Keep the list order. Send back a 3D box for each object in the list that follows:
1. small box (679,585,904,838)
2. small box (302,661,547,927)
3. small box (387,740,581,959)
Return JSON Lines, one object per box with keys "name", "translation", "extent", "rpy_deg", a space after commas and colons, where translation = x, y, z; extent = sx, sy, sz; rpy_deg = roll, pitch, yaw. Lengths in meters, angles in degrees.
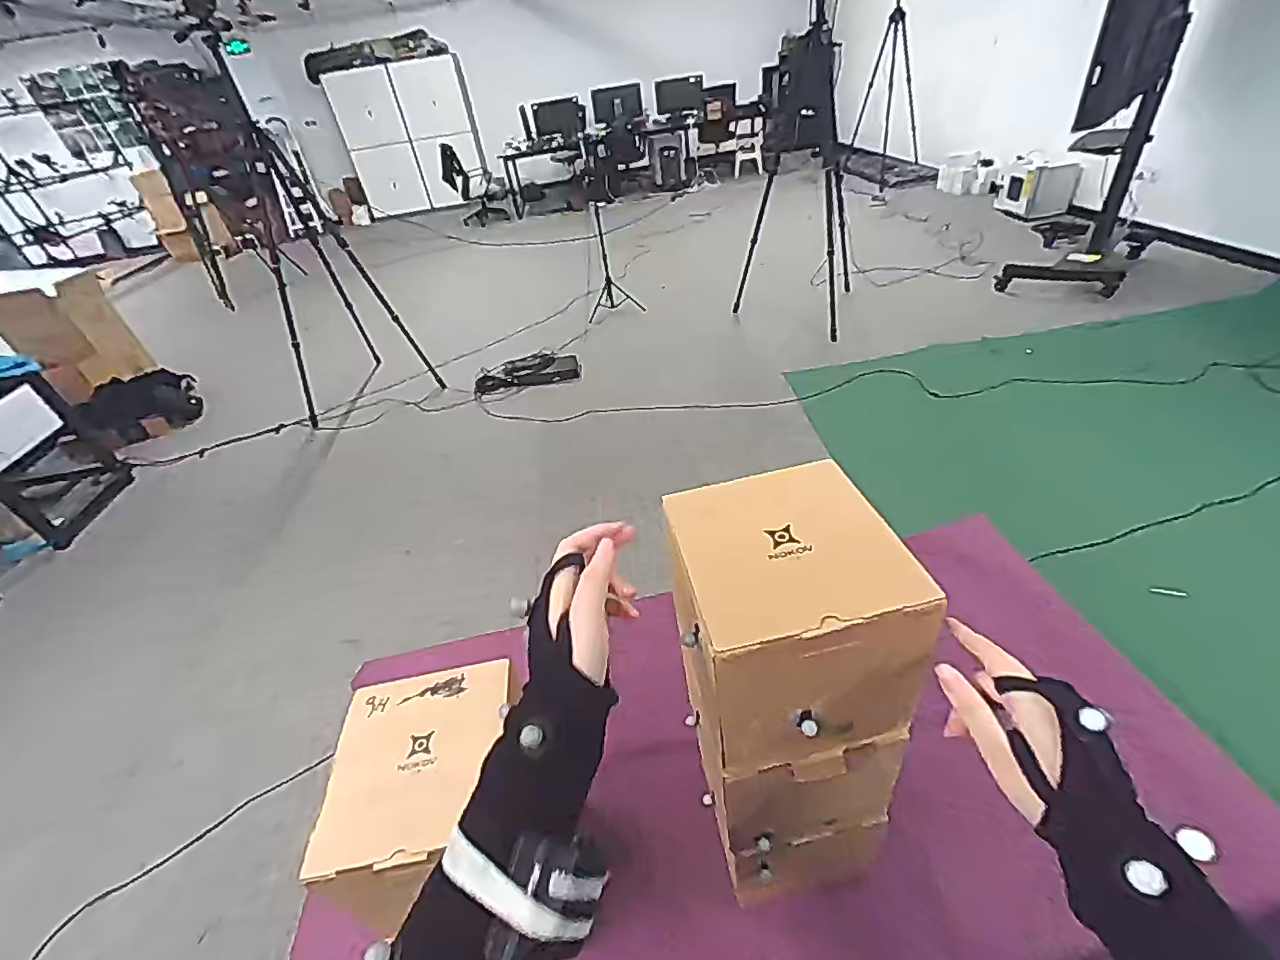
{"name": "small box", "translation": [0.146, 0.245, 0.568], "extent": [0.168, 0.176, 0.179], "rpy_deg": [-12, 36, -3]}
{"name": "small box", "translation": [-0.193, 0.319, 0.548], "extent": [0.168, 0.176, 0.179], "rpy_deg": [-11, 38, -2]}
{"name": "small box", "translation": [-0.169, 0.450, 0.646], "extent": [0.168, 0.176, 0.179], "rpy_deg": [-12, 37, -2]}
